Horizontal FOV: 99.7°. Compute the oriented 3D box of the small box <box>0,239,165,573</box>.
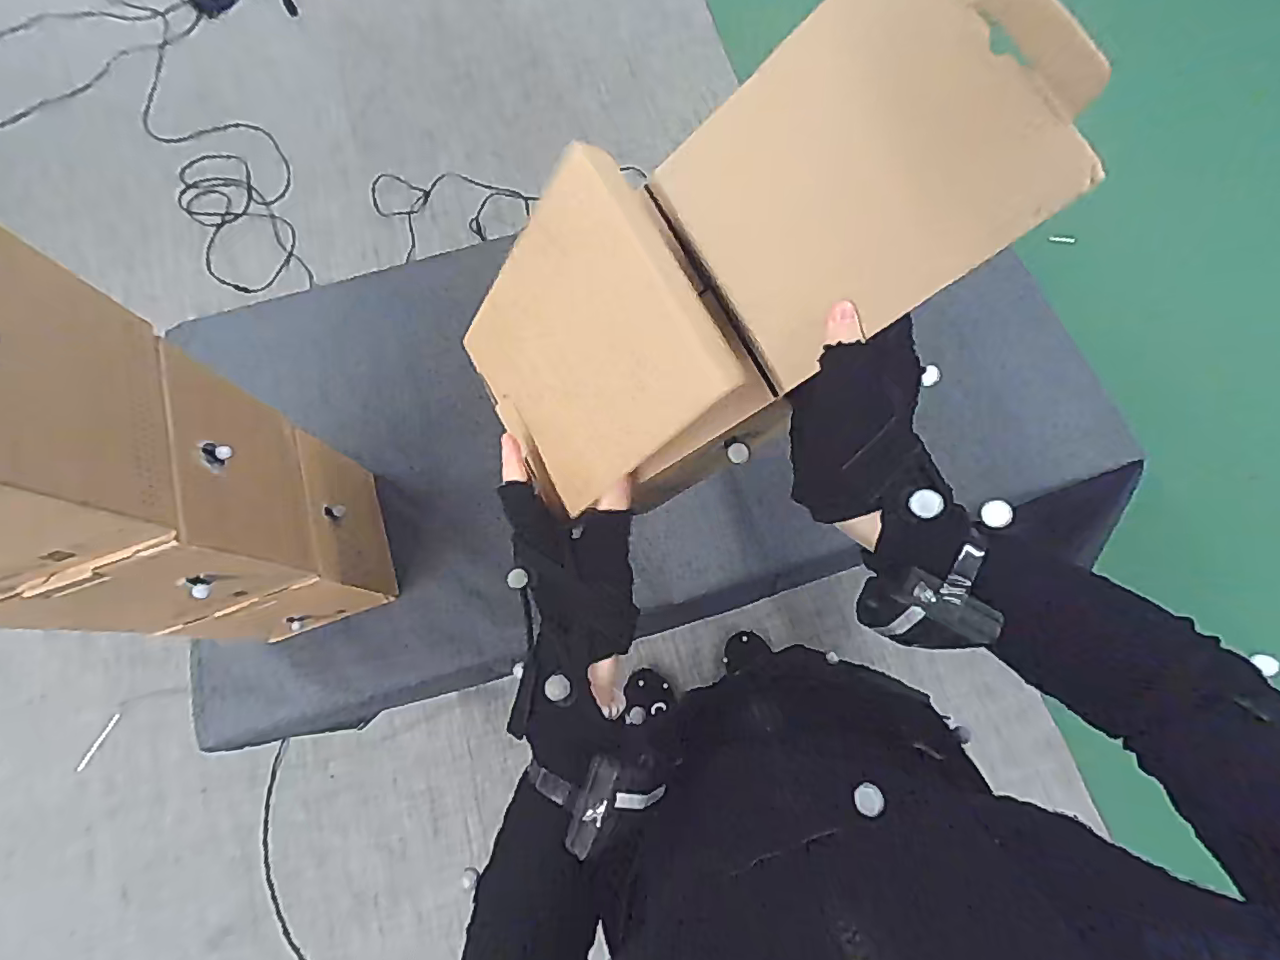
[{"bbox_3d":[-0.421,-0.044,0.308,0.168,0.176,0.179,-20,73,-6],"label":"small box"}]

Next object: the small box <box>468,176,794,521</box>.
[{"bbox_3d":[0.008,-0.084,0.429,0.179,0.176,0.168,-31,80,20],"label":"small box"}]

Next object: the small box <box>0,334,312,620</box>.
[{"bbox_3d":[-0.413,0.013,0.462,0.168,0.176,0.179,-19,73,-5],"label":"small box"}]

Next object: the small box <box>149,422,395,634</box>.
[{"bbox_3d":[-0.408,0.064,0.616,0.168,0.176,0.179,-19,73,-4],"label":"small box"}]
